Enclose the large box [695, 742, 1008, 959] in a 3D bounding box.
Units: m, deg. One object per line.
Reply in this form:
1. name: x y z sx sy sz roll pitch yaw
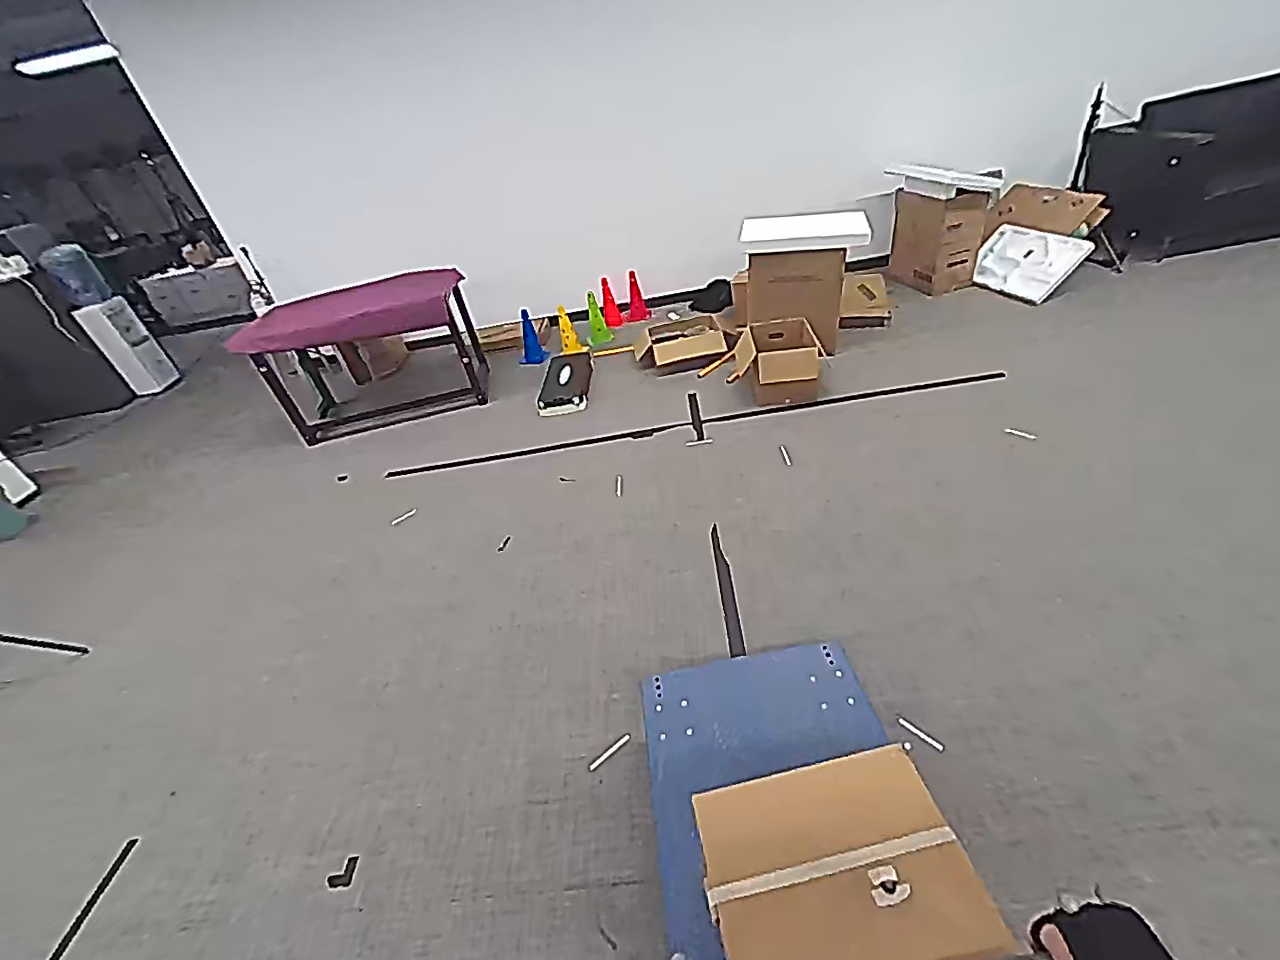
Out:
1. large box: 0.340 0.745 0.976 0.408 0.320 0.320 -13 37 -2
